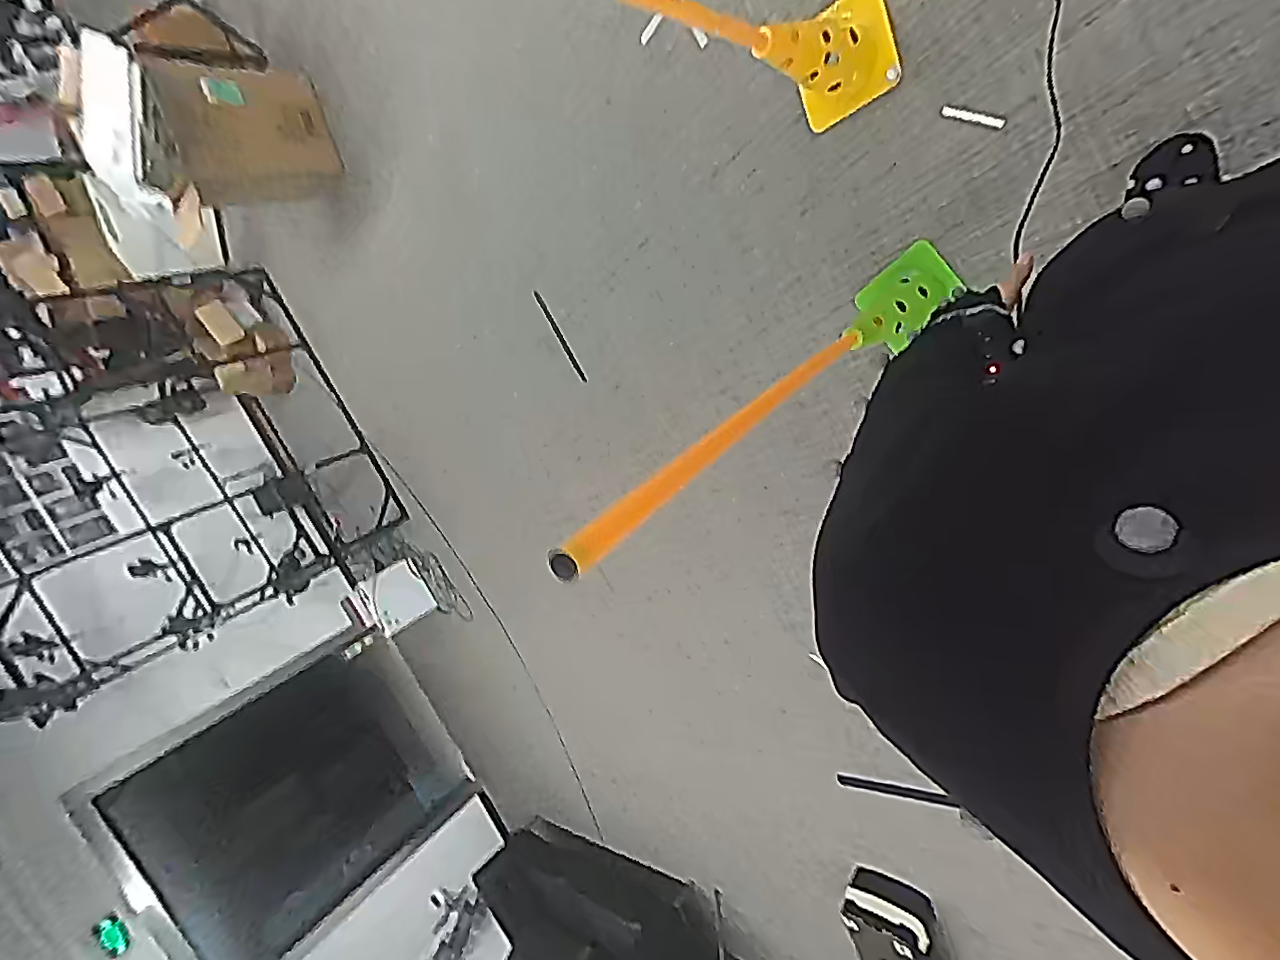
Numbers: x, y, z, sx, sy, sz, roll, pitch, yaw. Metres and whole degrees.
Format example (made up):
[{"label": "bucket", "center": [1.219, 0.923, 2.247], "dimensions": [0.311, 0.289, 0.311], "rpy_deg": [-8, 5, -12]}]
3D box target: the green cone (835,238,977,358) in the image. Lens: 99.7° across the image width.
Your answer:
[{"label": "green cone", "center": [0.498, -0.335, 1.102], "dimensions": [0.202, 0.368, 0.200], "rpy_deg": [54, 140, 7]}]
